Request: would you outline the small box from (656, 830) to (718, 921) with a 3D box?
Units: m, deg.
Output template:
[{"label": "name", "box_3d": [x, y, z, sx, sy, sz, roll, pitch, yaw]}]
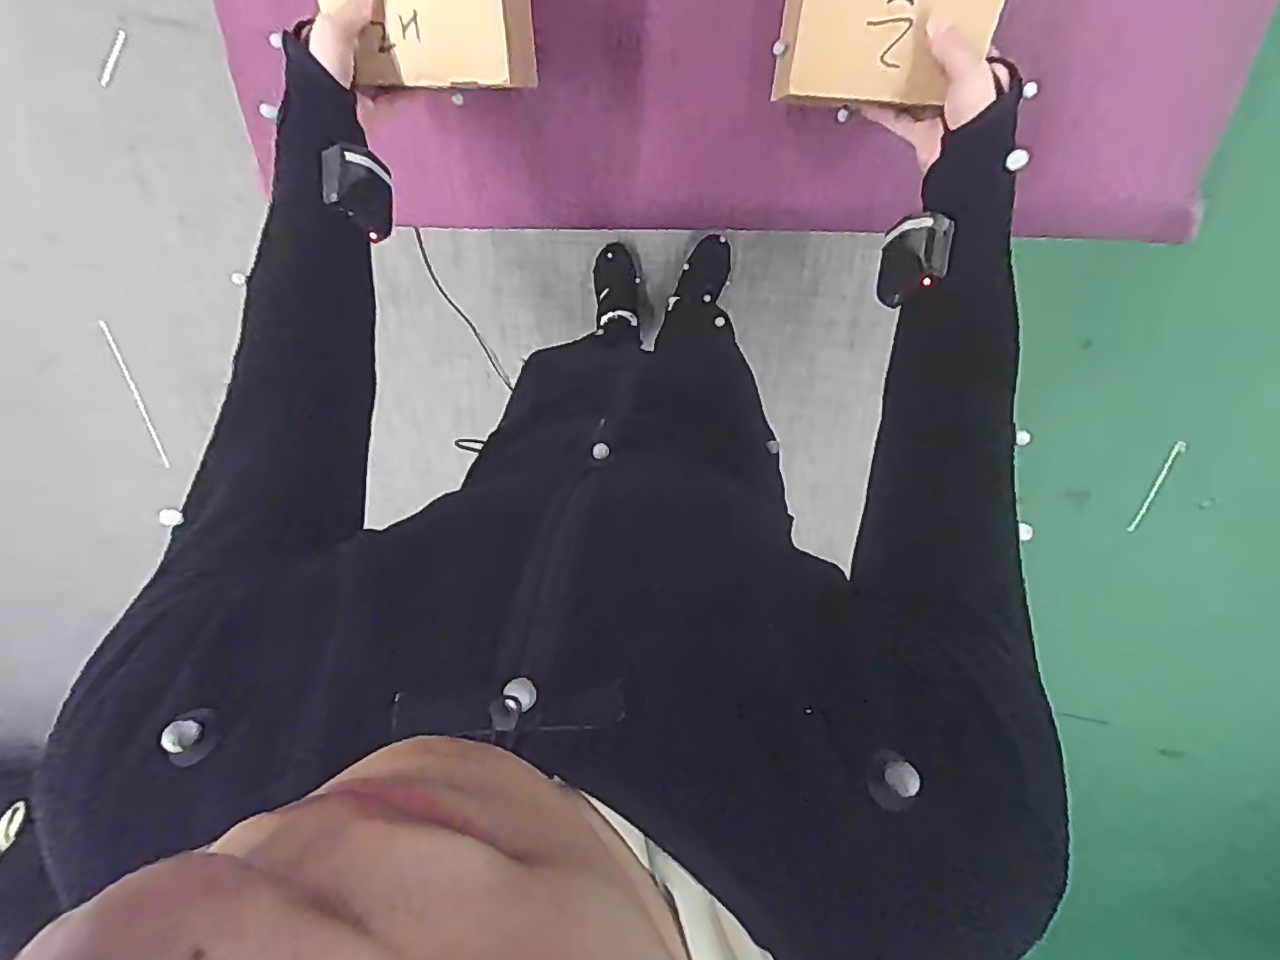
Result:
[{"label": "small box", "box_3d": [0.151, 1.274, 1.747, 0.168, 0.176, 0.179, 10, 118, -1]}]

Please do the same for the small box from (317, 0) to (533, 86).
[{"label": "small box", "box_3d": [-0.207, -0.500, 0.533, 0.168, 0.176, 0.179, 0, 126, 1]}]
